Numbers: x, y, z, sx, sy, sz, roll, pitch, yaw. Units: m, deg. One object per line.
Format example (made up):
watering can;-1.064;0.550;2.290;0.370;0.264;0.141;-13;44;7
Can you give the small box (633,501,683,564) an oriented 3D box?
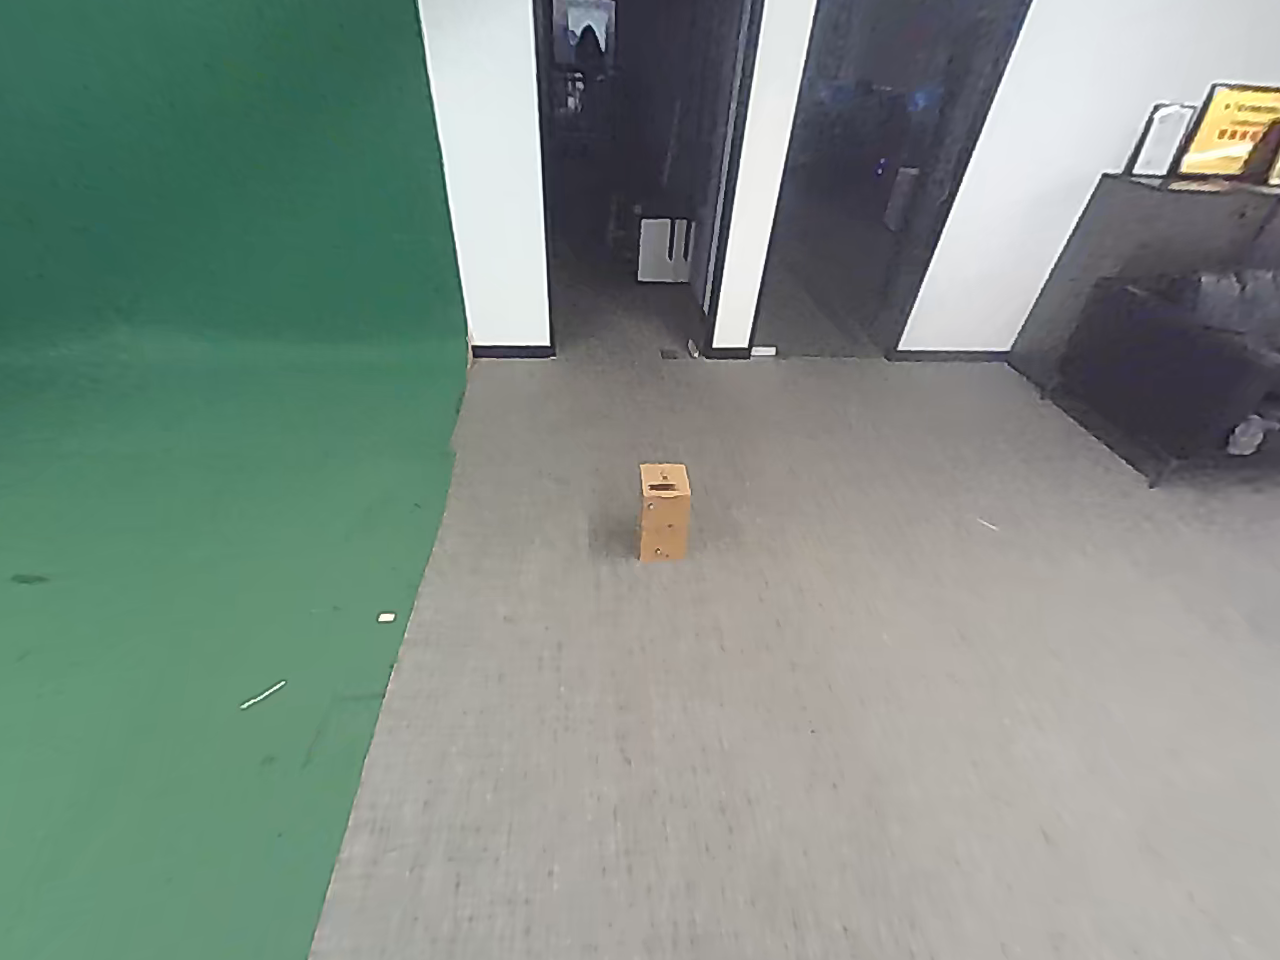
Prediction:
small box;0.065;0.199;2.066;0.168;0.176;0.179;0;40;-6
